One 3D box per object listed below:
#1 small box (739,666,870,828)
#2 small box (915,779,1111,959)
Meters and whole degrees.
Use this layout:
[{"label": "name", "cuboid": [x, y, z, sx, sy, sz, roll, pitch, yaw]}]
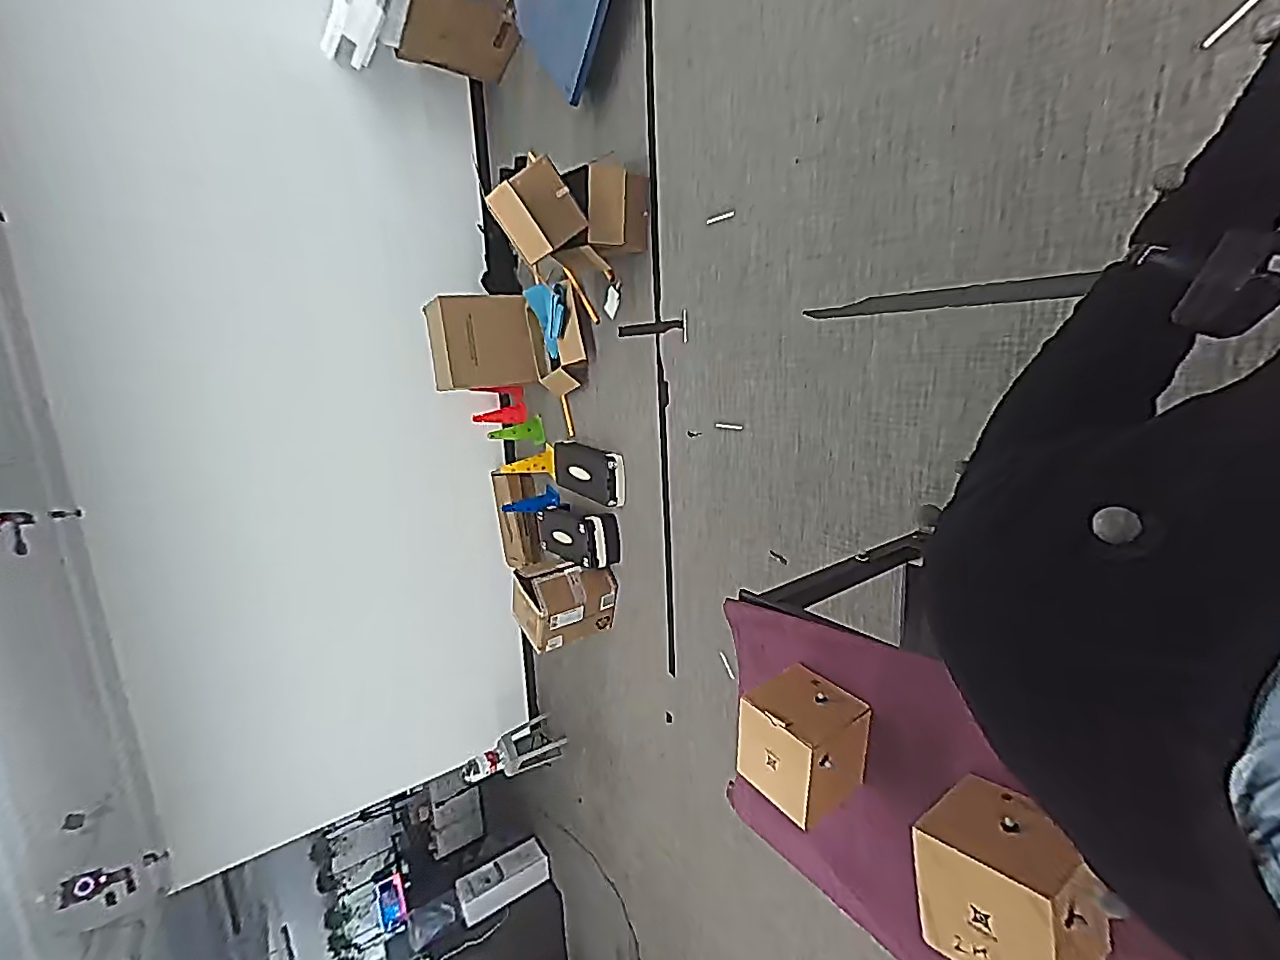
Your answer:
[{"label": "small box", "cuboid": [0.304, 0.482, 1.004, 0.168, 0.176, 0.179, 21, 117, 52]}, {"label": "small box", "cuboid": [0.500, 0.546, 0.727, 0.168, 0.176, 0.179, -1, 99, 57]}]
